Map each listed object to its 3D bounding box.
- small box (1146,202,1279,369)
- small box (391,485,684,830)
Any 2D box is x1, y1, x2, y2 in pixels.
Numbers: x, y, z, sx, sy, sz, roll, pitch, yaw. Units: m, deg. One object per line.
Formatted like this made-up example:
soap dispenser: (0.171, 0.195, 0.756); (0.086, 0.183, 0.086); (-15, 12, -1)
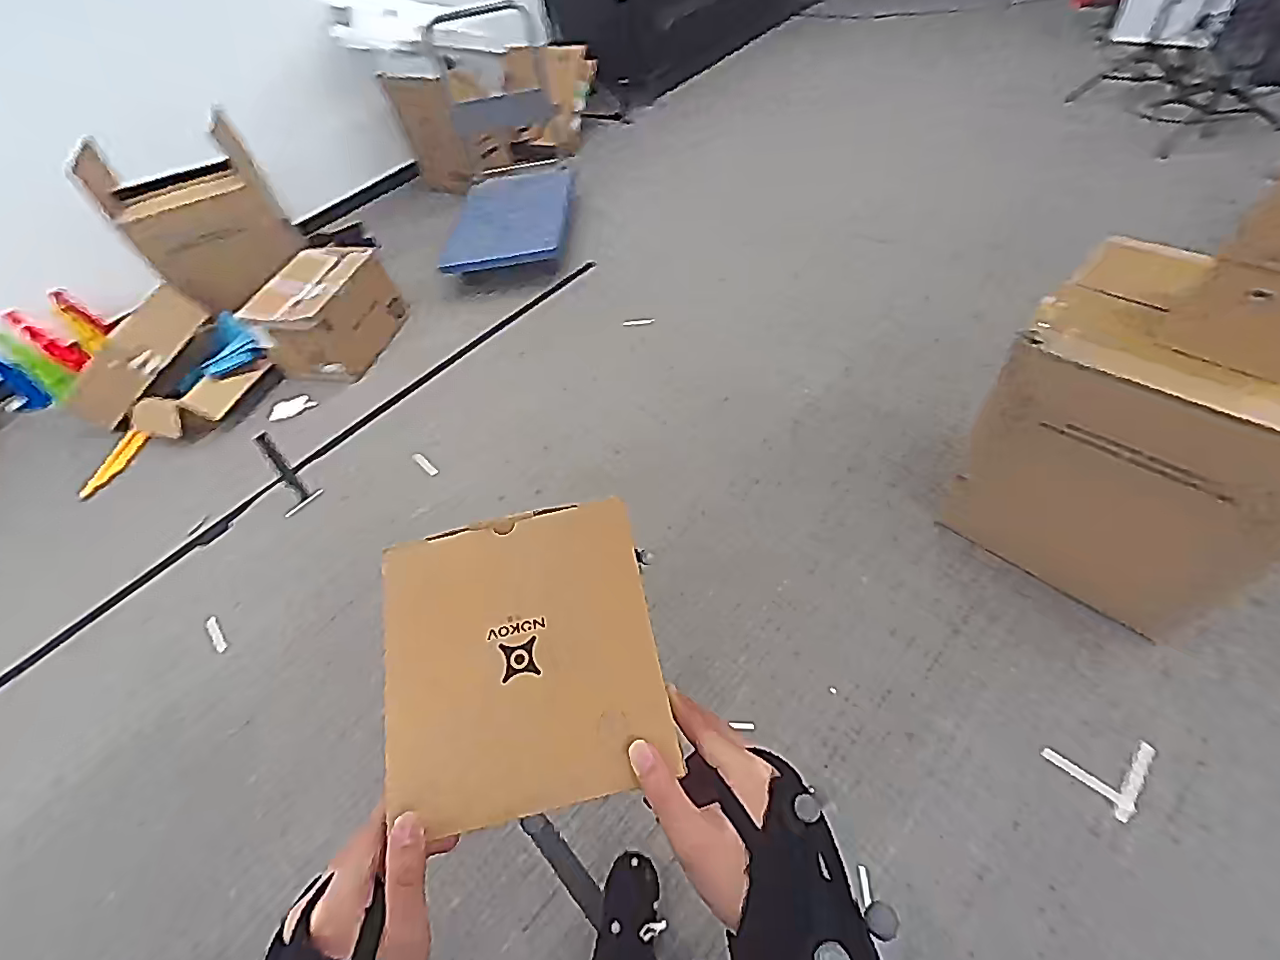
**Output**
small box: (0.974, -0.306, 0.861); (0.168, 0.176, 0.179); (-41, 56, -18)
small box: (-0.065, 0.130, 0.403); (0.168, 0.176, 0.179); (-13, 64, -3)
